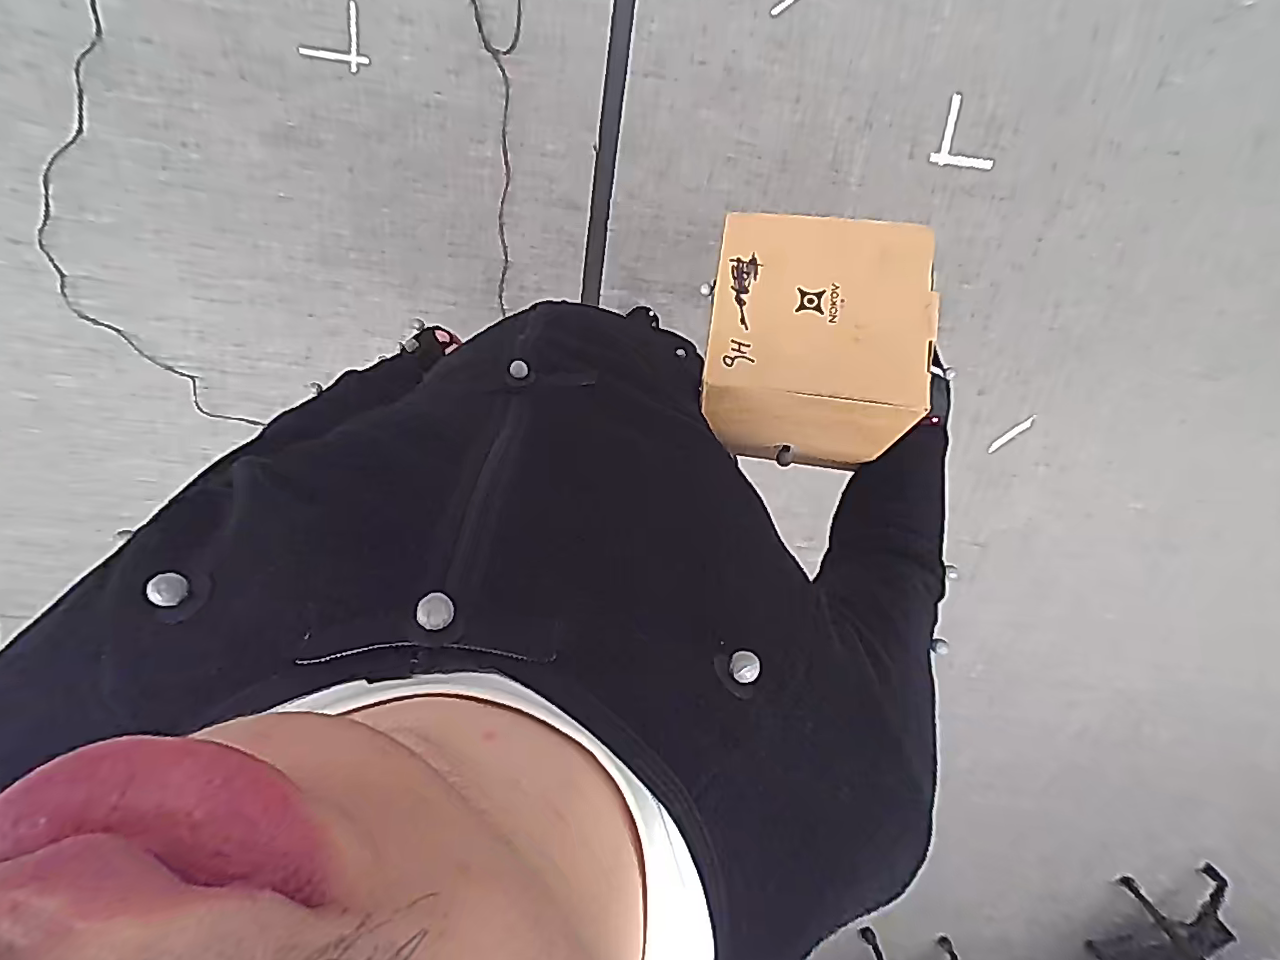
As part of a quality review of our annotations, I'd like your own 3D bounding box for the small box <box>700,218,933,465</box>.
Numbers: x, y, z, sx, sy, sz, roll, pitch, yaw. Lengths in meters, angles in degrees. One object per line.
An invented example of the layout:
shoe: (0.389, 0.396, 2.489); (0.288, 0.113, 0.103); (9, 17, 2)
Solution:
small box: (0.159, -0.122, 0.531); (0.179, 0.176, 0.168); (8, 74, 6)
